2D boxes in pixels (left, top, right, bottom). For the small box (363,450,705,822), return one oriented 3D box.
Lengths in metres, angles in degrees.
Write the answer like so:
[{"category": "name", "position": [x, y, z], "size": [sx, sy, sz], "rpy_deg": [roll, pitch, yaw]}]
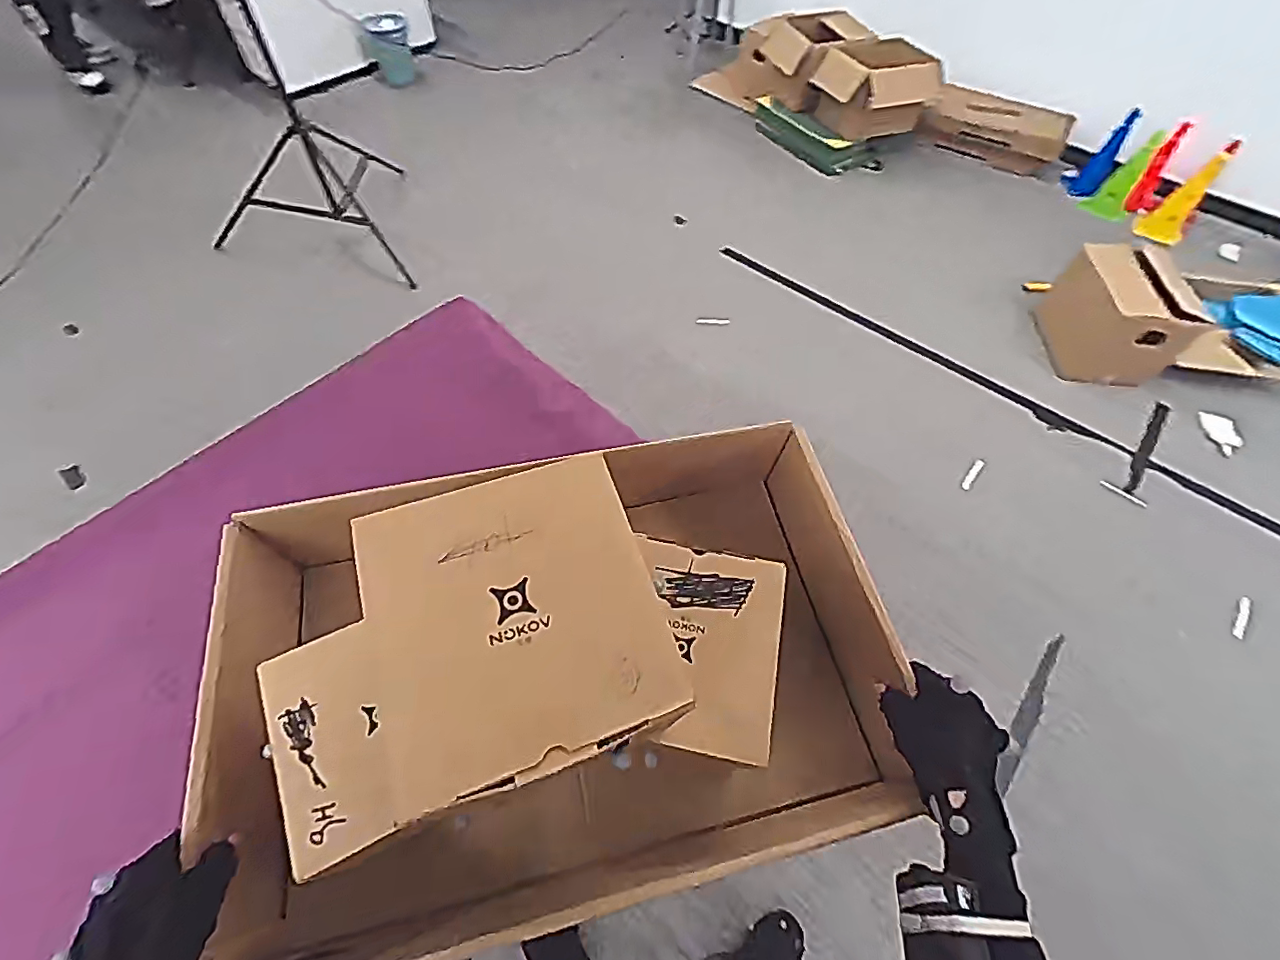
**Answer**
[{"category": "small box", "position": [-0.071, 0.110, 0.382], "size": [0.168, 0.176, 0.179], "rpy_deg": [-16, 62, -14]}]
